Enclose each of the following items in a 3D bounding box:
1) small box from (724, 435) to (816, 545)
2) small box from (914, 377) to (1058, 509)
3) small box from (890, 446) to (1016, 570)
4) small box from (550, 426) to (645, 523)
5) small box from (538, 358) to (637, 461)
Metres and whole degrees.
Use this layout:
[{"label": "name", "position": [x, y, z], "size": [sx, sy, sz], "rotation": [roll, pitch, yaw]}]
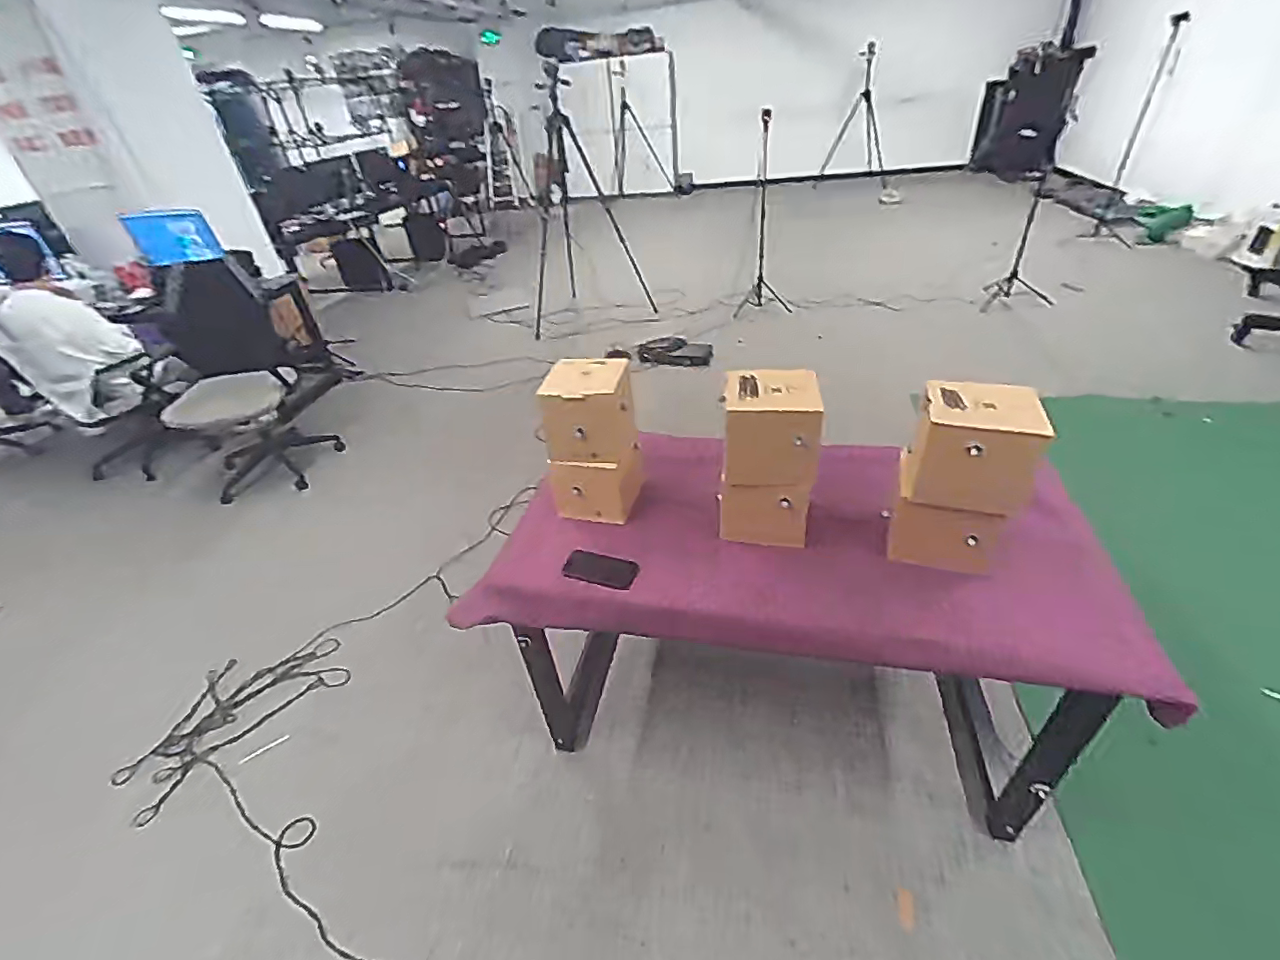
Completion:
[{"label": "small box", "position": [0.279, 0.021, 1.163], "size": [0.179, 0.176, 0.168], "rotation": [4, 37, 15]}, {"label": "small box", "position": [0.591, -0.067, 0.953], "size": [0.179, 0.176, 0.168], "rotation": [8, 38, 20]}, {"label": "small box", "position": [0.604, 0.055, 1.062], "size": [0.179, 0.176, 0.168], "rotation": [8, 38, 21]}, {"label": "small box", "position": [-0.090, -0.017, 1.284], "size": [0.168, 0.176, 0.179], "rotation": [5, 37, 16]}, {"label": "small box", "position": [-0.105, -0.155, 1.194], "size": [0.168, 0.176, 0.179], "rotation": [2, 37, 11]}]
